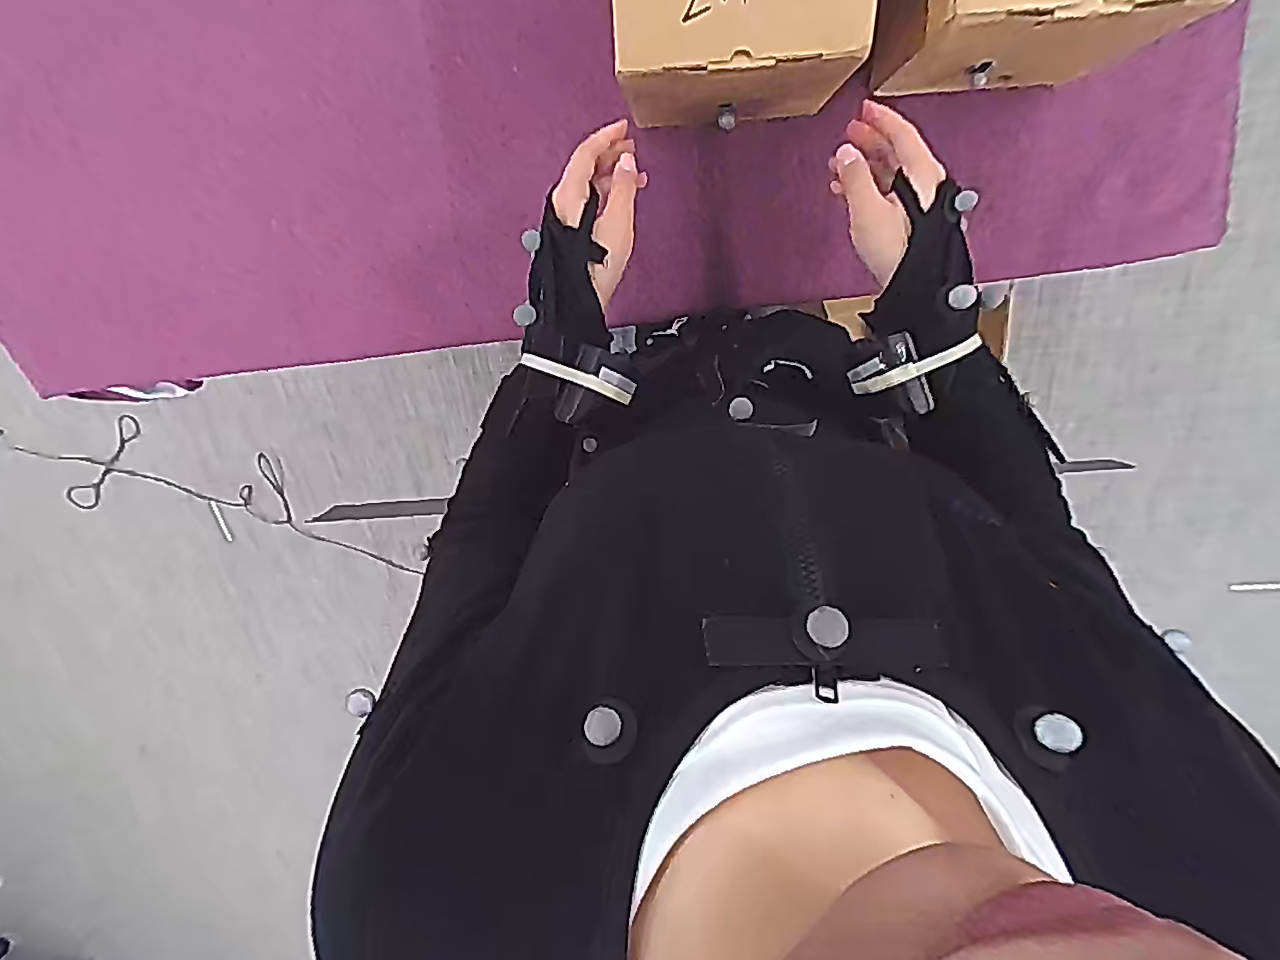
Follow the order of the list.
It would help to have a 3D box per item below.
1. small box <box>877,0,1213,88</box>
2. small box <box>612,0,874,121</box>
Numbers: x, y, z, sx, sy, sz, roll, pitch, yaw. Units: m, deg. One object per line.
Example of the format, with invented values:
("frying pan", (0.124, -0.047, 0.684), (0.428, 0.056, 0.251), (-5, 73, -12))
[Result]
("small box", (0.276, -0.398, 0.365), (0.168, 0.176, 0.179), (-1, 113, 6))
("small box", (0.067, -0.384, 0.390), (0.168, 0.176, 0.179), (-1, 113, 5))
